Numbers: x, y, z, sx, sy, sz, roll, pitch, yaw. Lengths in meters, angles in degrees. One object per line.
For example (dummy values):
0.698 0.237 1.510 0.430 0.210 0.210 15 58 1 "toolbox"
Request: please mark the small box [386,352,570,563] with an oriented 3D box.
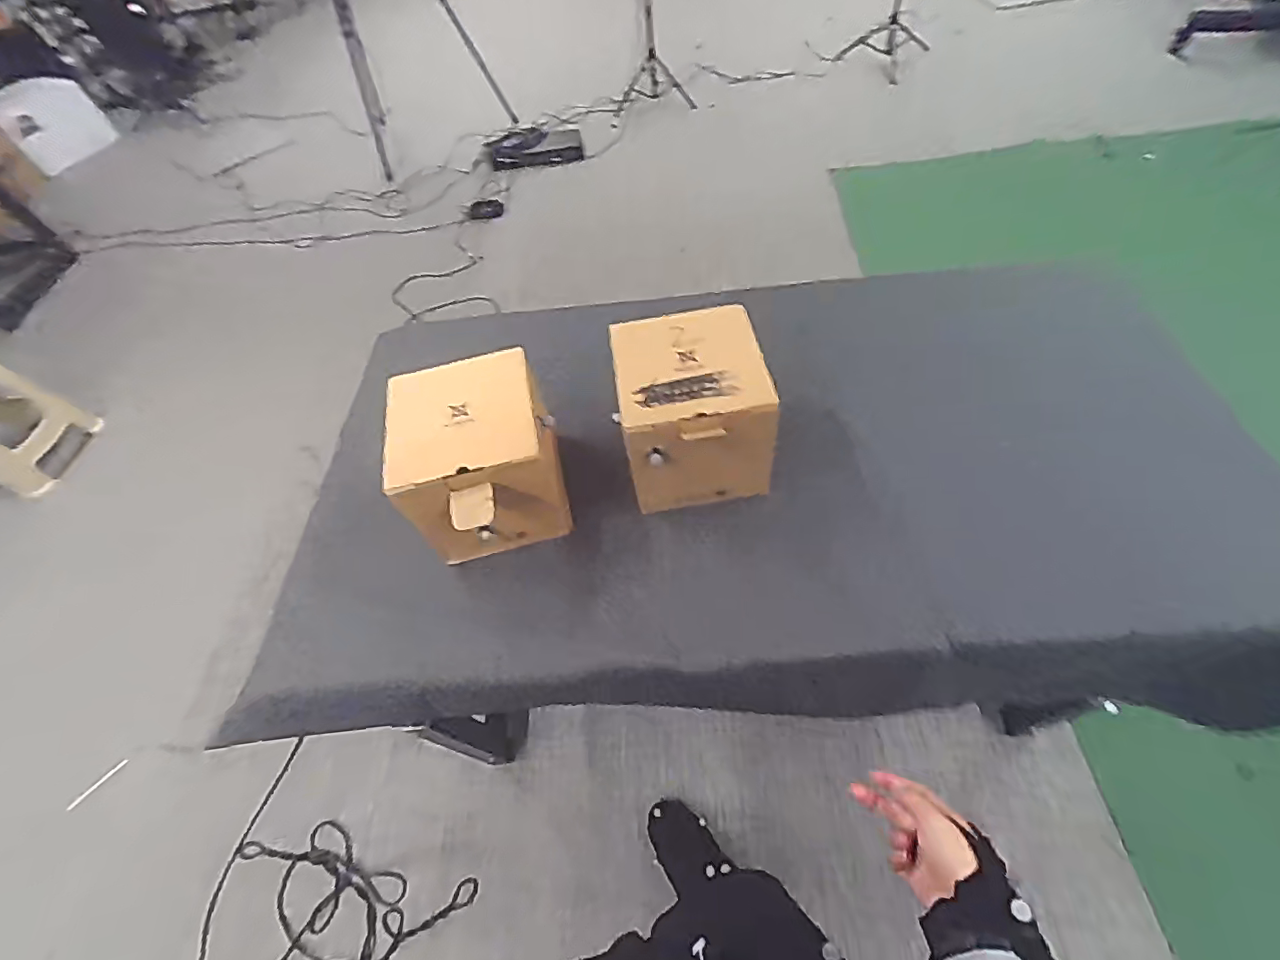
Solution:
-0.192 -0.024 0.671 0.168 0.176 0.179 -15 55 -3 "small box"
